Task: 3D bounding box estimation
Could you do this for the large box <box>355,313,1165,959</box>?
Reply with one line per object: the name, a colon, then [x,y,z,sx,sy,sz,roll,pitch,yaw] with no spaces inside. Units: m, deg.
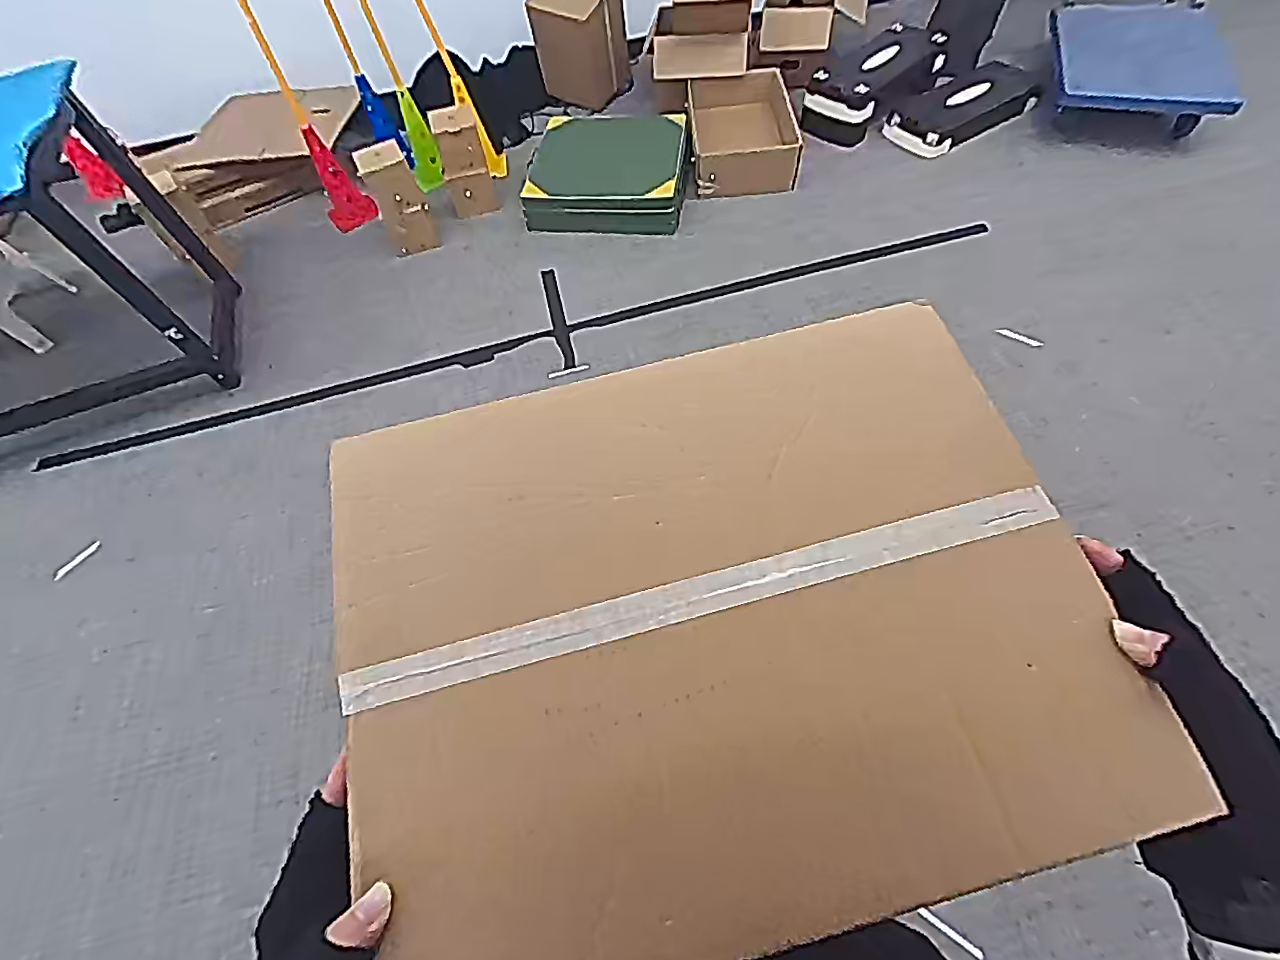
large box: [0.044,0.124,0.454,0.408,0.320,0.320,-15,68,-3]
